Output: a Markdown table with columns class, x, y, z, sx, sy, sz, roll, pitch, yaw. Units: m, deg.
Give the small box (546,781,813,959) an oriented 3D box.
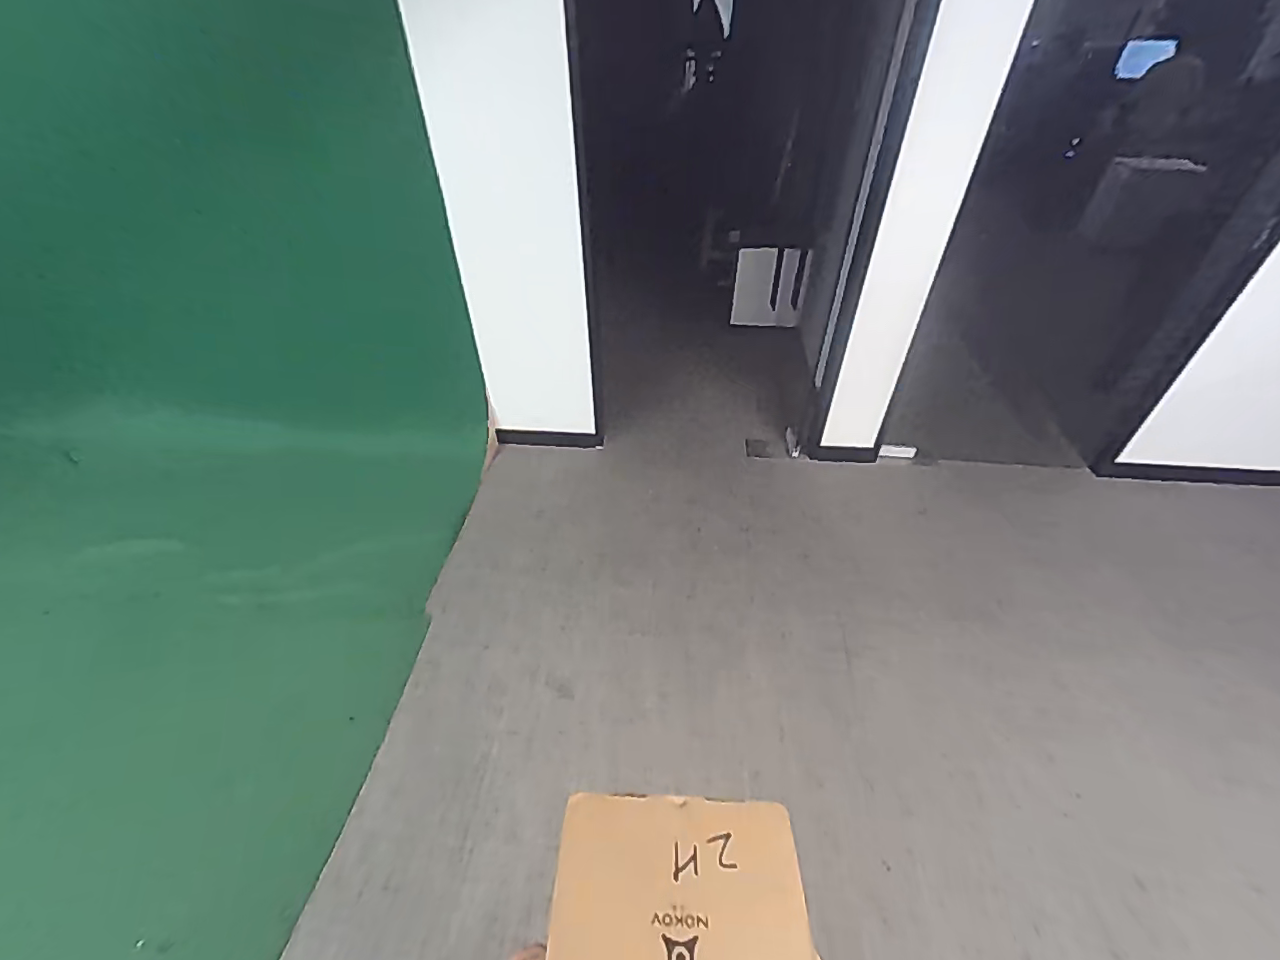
| class | x | y | z | sx | sy | sz | roll | pitch | yaw |
| --- | --- | --- | --- | --- | --- | --- | --- | --- | --- |
| small box | 0.021 | 0.349 | 0.384 | 0.168 | 0.176 | 0.179 | 4 | 33 | -1 |
